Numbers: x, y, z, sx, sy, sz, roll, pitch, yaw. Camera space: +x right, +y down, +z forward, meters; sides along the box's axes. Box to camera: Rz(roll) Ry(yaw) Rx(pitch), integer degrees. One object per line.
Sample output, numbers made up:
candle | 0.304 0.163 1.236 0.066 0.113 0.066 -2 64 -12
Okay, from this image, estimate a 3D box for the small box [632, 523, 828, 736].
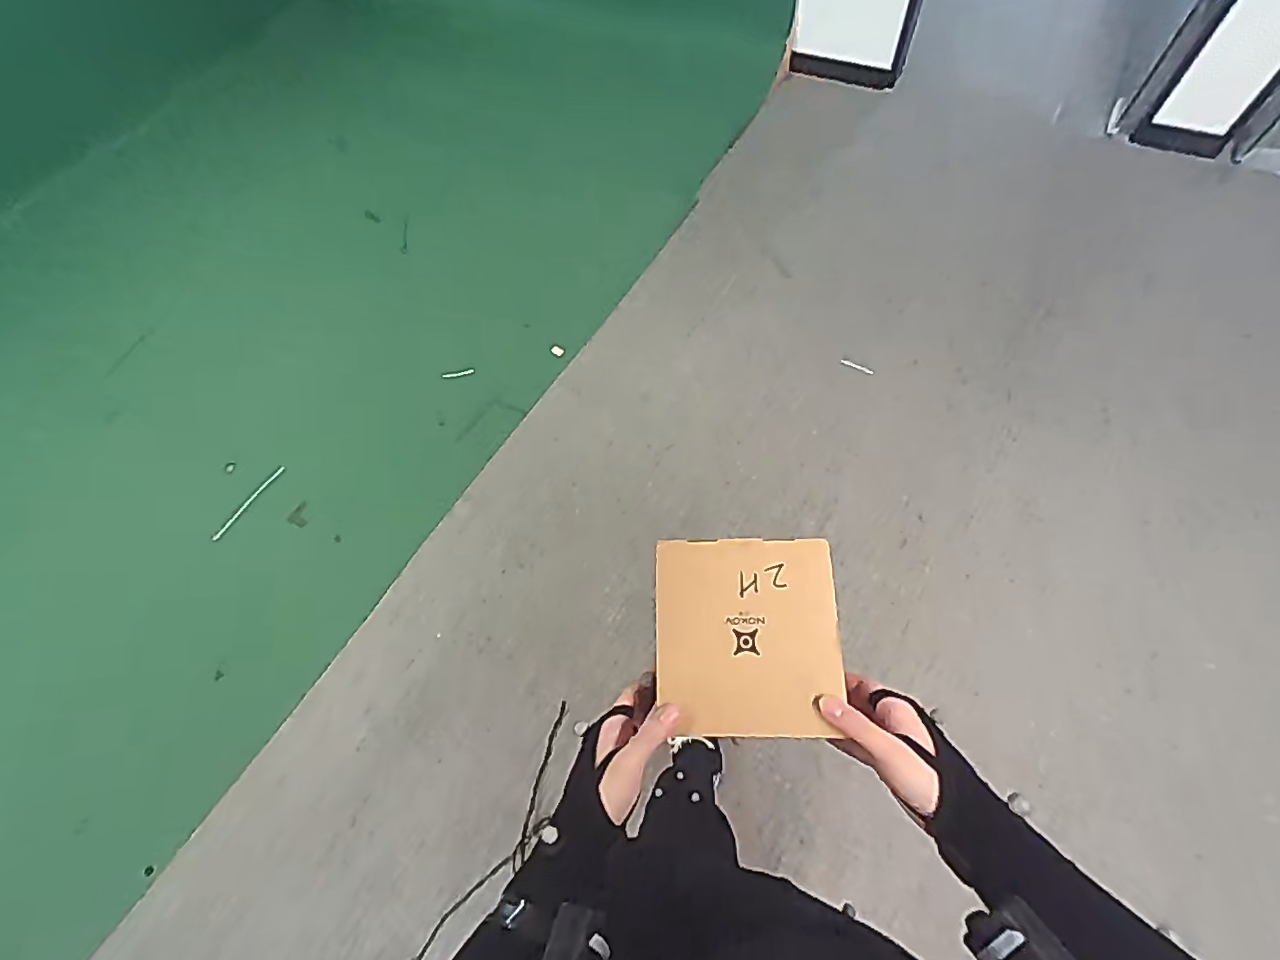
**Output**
small box | 0.085 0.150 0.550 0.168 0.176 0.179 1 71 4
